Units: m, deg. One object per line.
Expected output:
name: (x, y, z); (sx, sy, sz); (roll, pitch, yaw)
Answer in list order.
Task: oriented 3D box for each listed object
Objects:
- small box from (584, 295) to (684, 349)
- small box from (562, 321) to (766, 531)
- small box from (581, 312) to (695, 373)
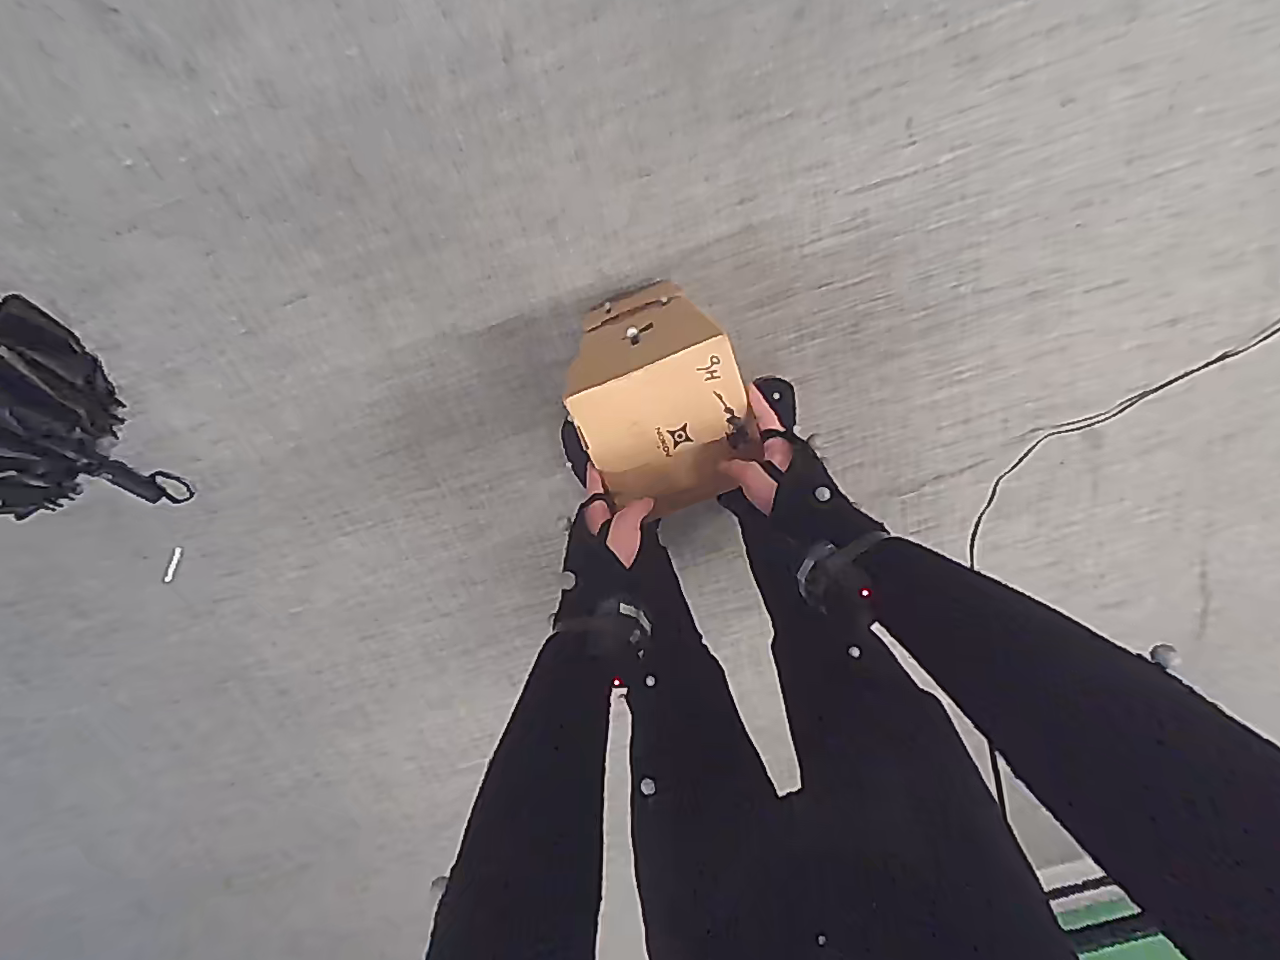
small box: (0.011, -0.209, 0.944); (0.168, 0.176, 0.179); (-22, 115, 7)
small box: (0.027, -0.072, 0.646); (0.179, 0.176, 0.168); (-23, 114, 7)
small box: (0.022, -0.135, 0.798); (0.168, 0.176, 0.179); (-22, 115, 7)
